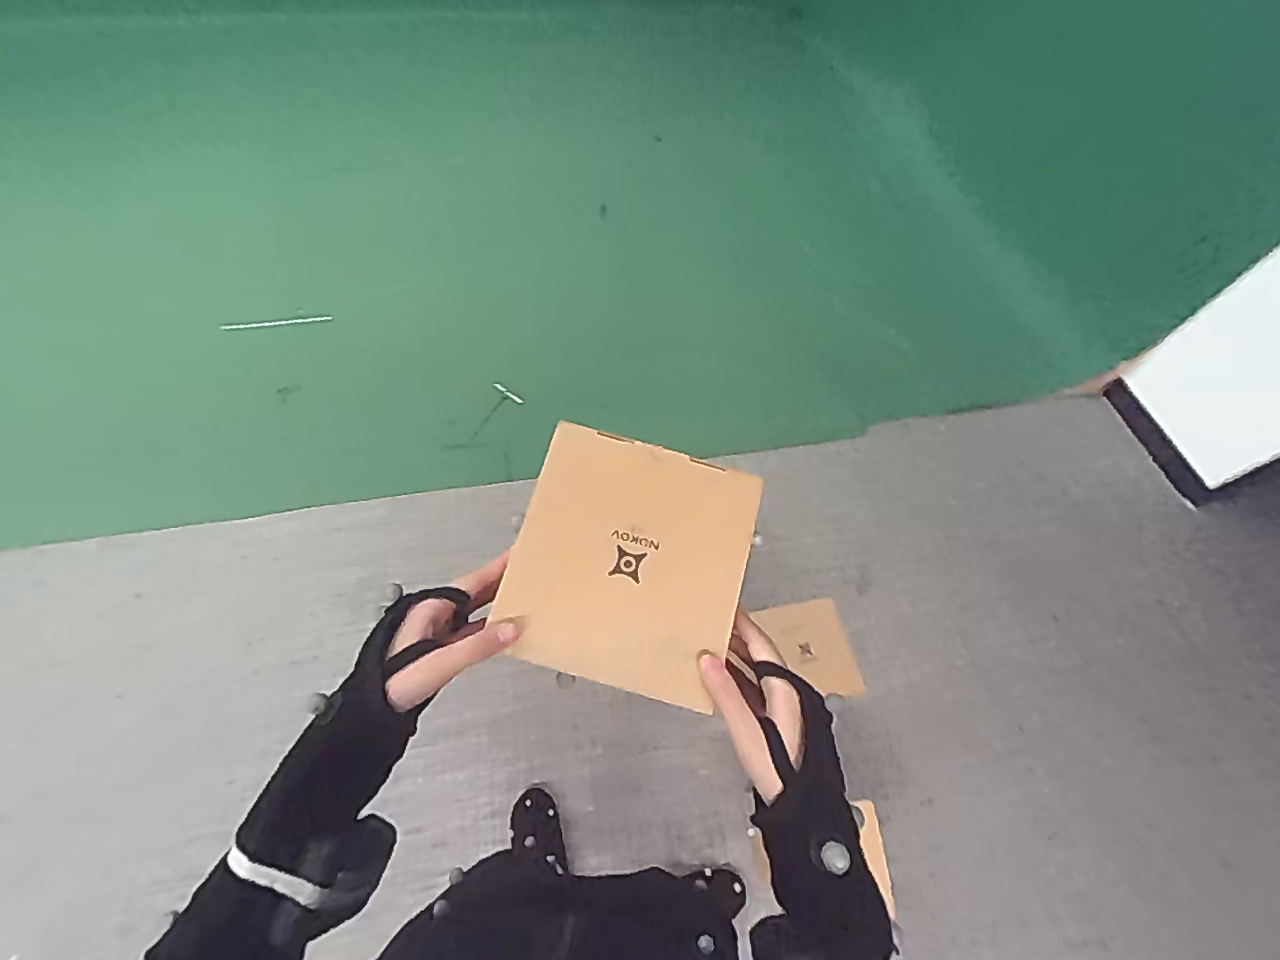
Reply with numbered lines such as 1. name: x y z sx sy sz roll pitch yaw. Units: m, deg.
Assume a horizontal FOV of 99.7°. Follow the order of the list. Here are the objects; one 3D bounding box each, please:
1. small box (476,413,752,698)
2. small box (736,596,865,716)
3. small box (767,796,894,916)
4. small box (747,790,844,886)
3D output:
1. small box: -0.017 0.072 0.468 0.168 0.176 0.179 15 71 1
2. small box: 0.294 0.343 1.035 0.168 0.176 0.179 -8 59 -7
3. small box: 0.347 0.702 1.024 0.168 0.176 0.179 1 59 -2
4. small box: 0.342 0.770 1.174 0.179 0.176 0.168 0 60 -2
